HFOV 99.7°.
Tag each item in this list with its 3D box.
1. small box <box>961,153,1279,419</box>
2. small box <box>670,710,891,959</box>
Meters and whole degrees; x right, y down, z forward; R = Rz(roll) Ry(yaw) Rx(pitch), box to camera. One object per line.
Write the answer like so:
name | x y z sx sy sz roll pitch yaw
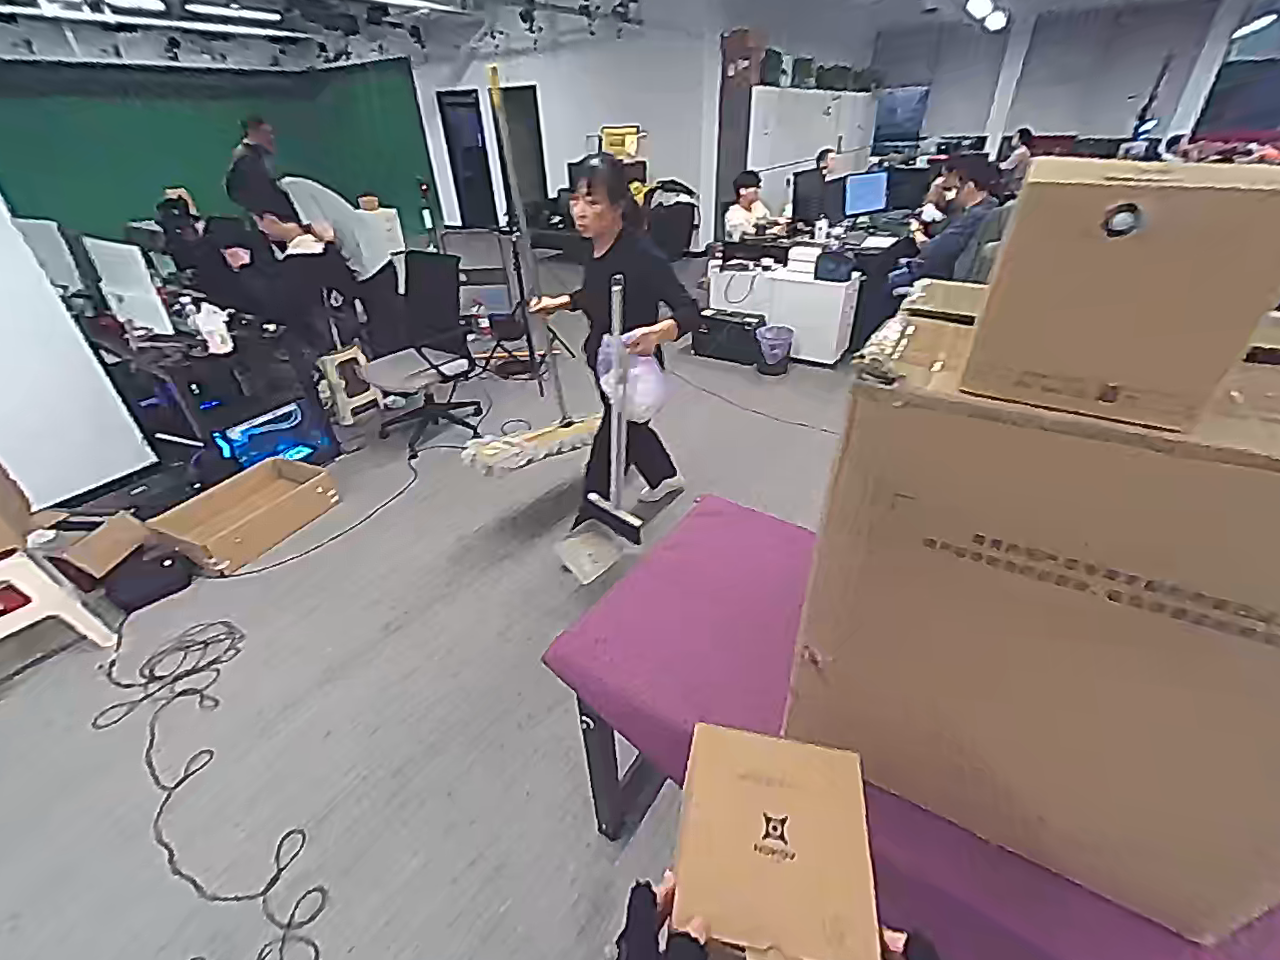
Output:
small box | 0.392 -0.173 0.457 0.168 0.176 0.179 18 38 26
small box | 0.123 0.360 0.525 0.168 0.176 0.179 9 41 7
